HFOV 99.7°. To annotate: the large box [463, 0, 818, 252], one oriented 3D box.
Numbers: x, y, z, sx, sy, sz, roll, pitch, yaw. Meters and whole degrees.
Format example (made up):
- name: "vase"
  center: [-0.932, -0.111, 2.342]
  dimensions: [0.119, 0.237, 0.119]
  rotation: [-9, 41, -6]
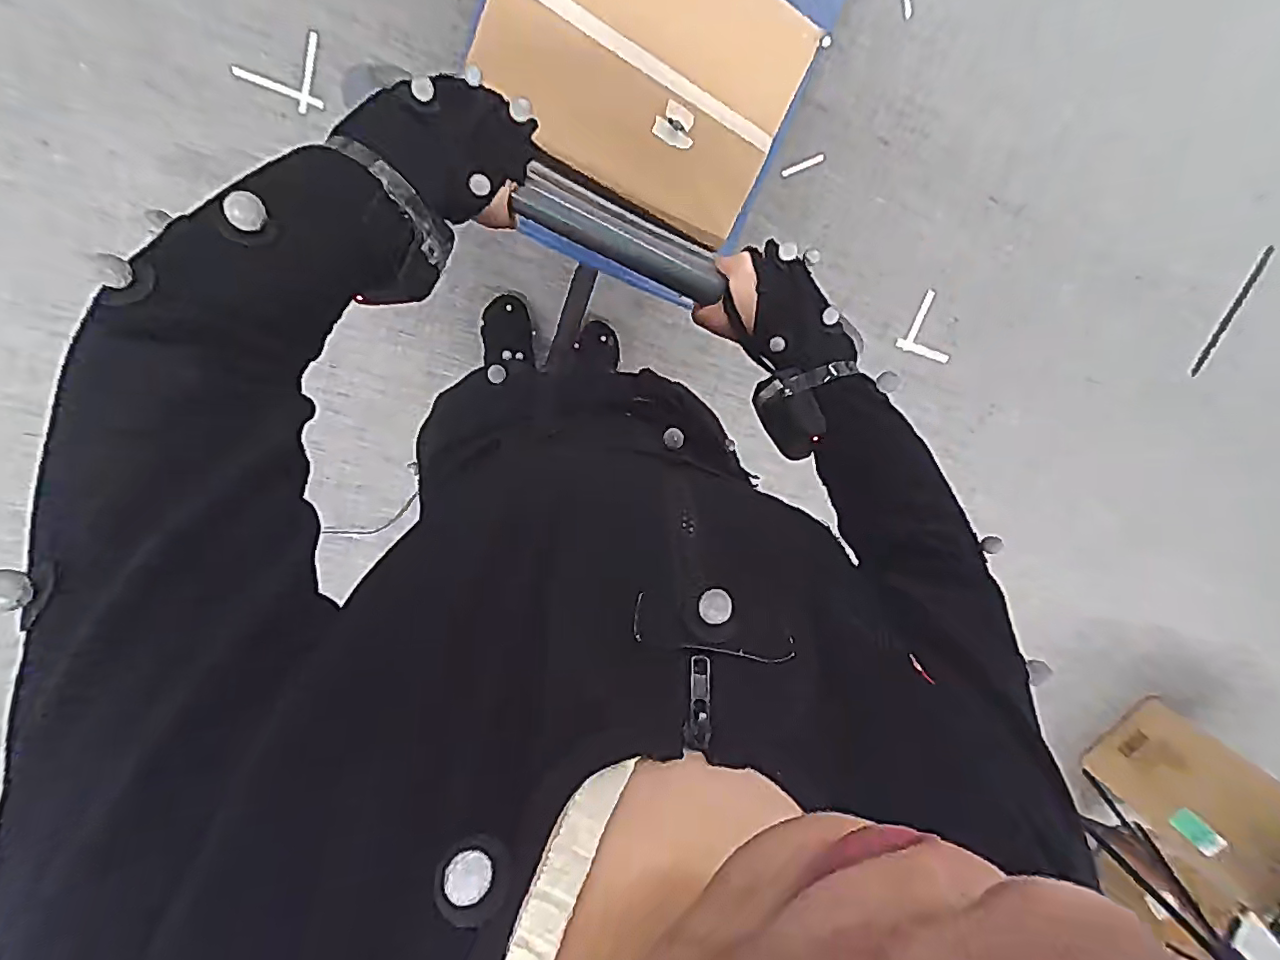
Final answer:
- name: "large box"
  center: [-0.024, -0.600, 0.847]
  dimensions: [0.408, 0.320, 0.320]
  rotation: [21, 105, -20]
